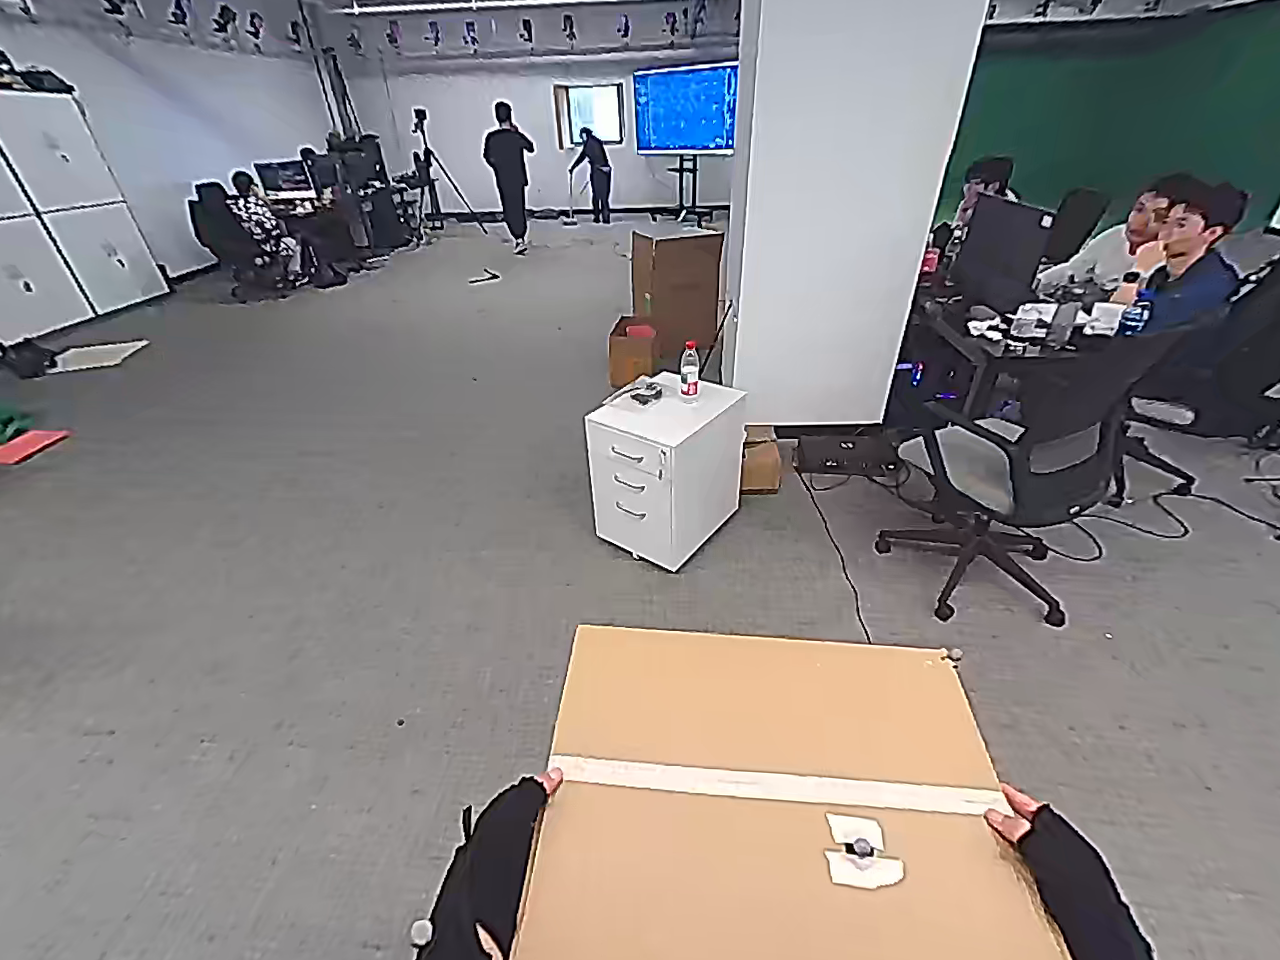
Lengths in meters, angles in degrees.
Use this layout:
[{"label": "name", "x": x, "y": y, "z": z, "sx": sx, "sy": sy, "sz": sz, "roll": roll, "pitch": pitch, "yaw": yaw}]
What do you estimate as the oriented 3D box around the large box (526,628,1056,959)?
[{"label": "large box", "x": 0.121, "y": 0.392, "z": 0.594, "sx": 0.408, "sy": 0.320, "sz": 0.320, "roll": 3, "pitch": 41, "yaw": 4}]
